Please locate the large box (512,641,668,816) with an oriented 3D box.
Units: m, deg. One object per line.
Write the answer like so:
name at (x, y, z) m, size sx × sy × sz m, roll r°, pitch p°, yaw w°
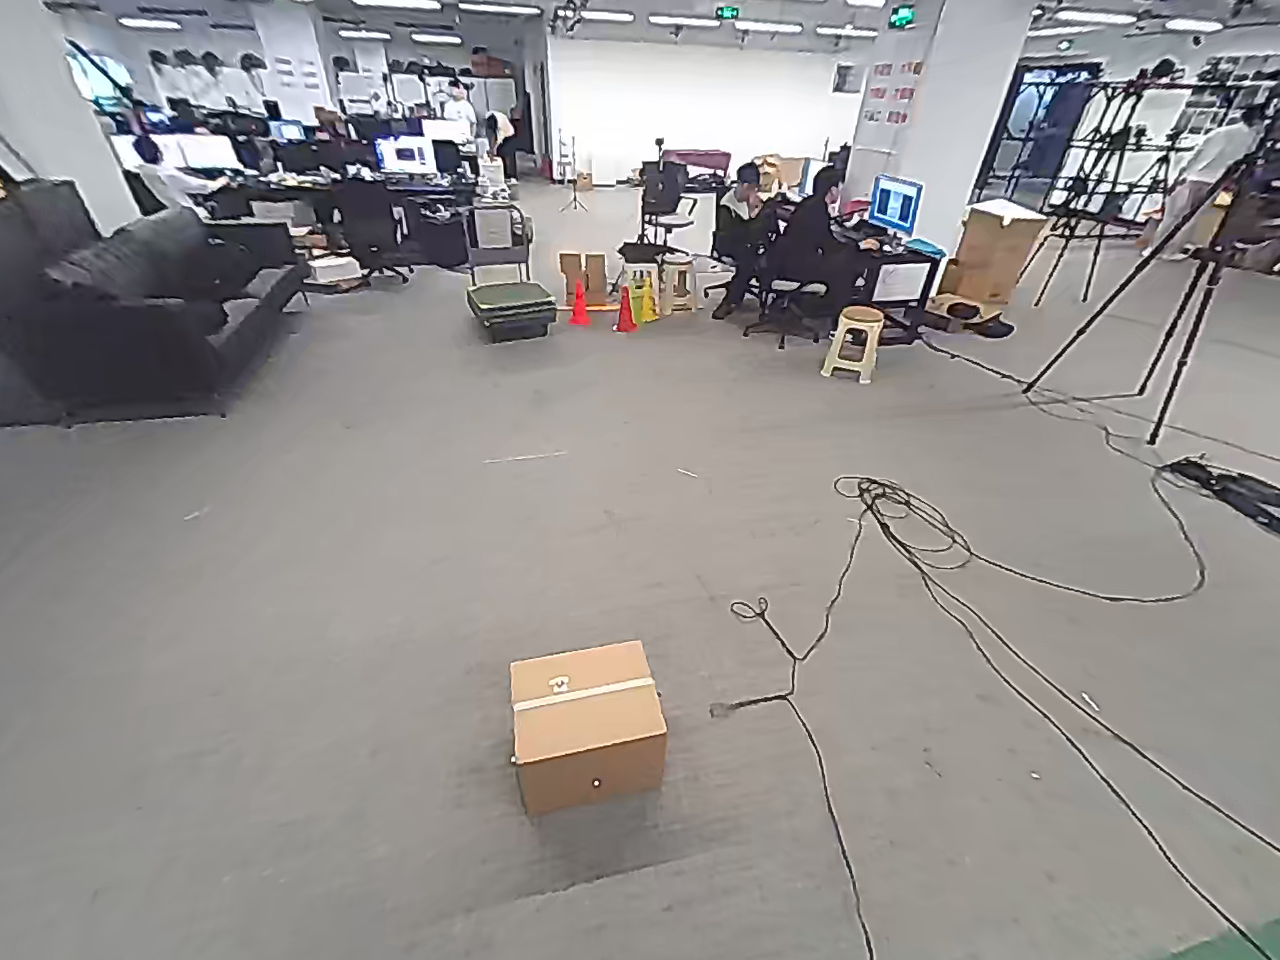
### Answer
large box at (-0.154, 0.739, 1.625) m, size 0.408 × 0.320 × 0.320 m, roll -8°, pitch 36°, yaw -12°
